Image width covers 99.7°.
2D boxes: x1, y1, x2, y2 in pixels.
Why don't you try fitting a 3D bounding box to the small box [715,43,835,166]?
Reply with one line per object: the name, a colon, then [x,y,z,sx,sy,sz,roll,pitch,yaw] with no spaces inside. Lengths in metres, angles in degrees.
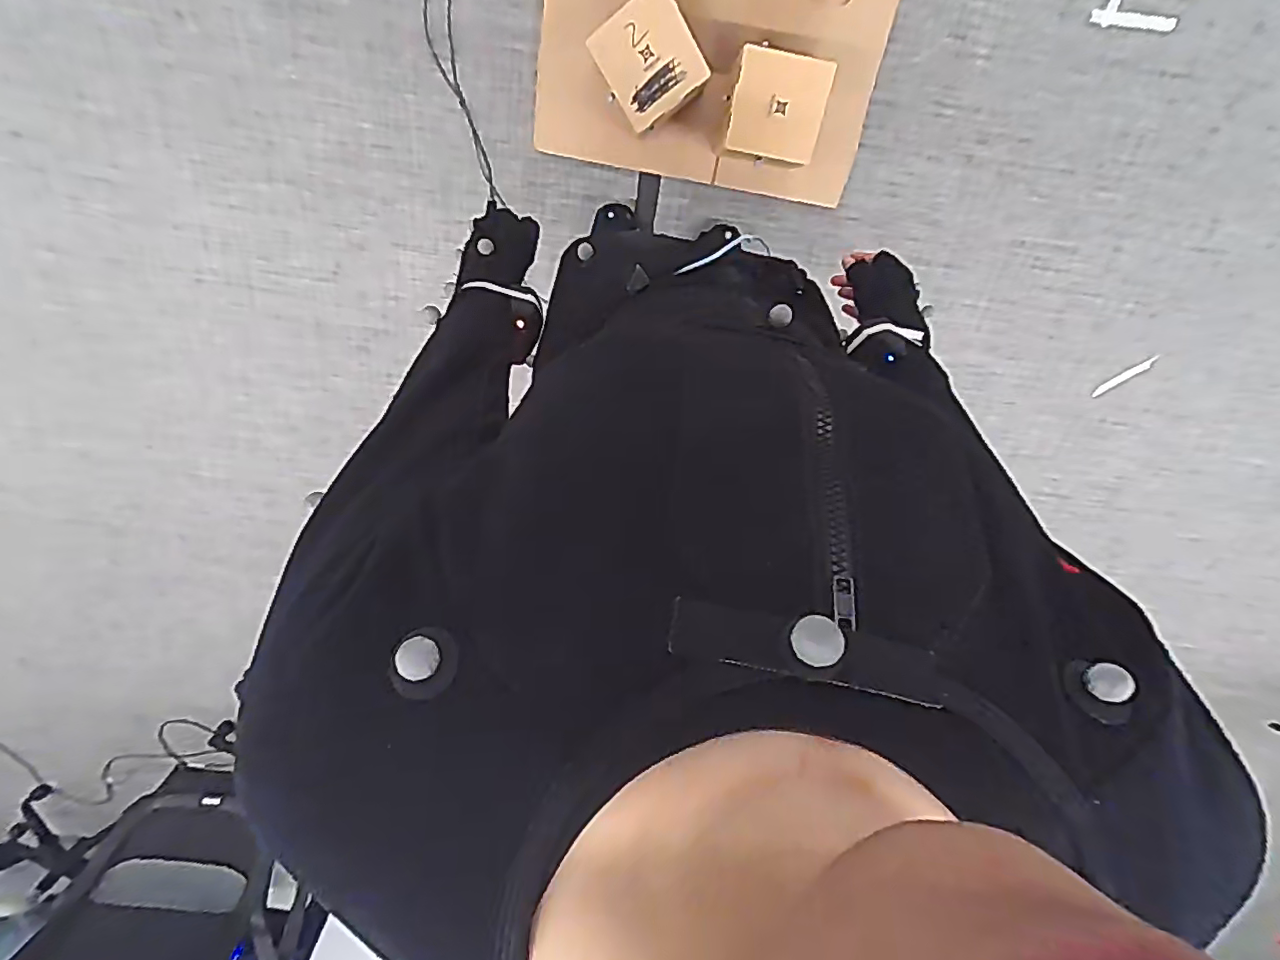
small box: [0.260,-0.743,1.087,0.179,0.176,0.168,10,118,-3]
